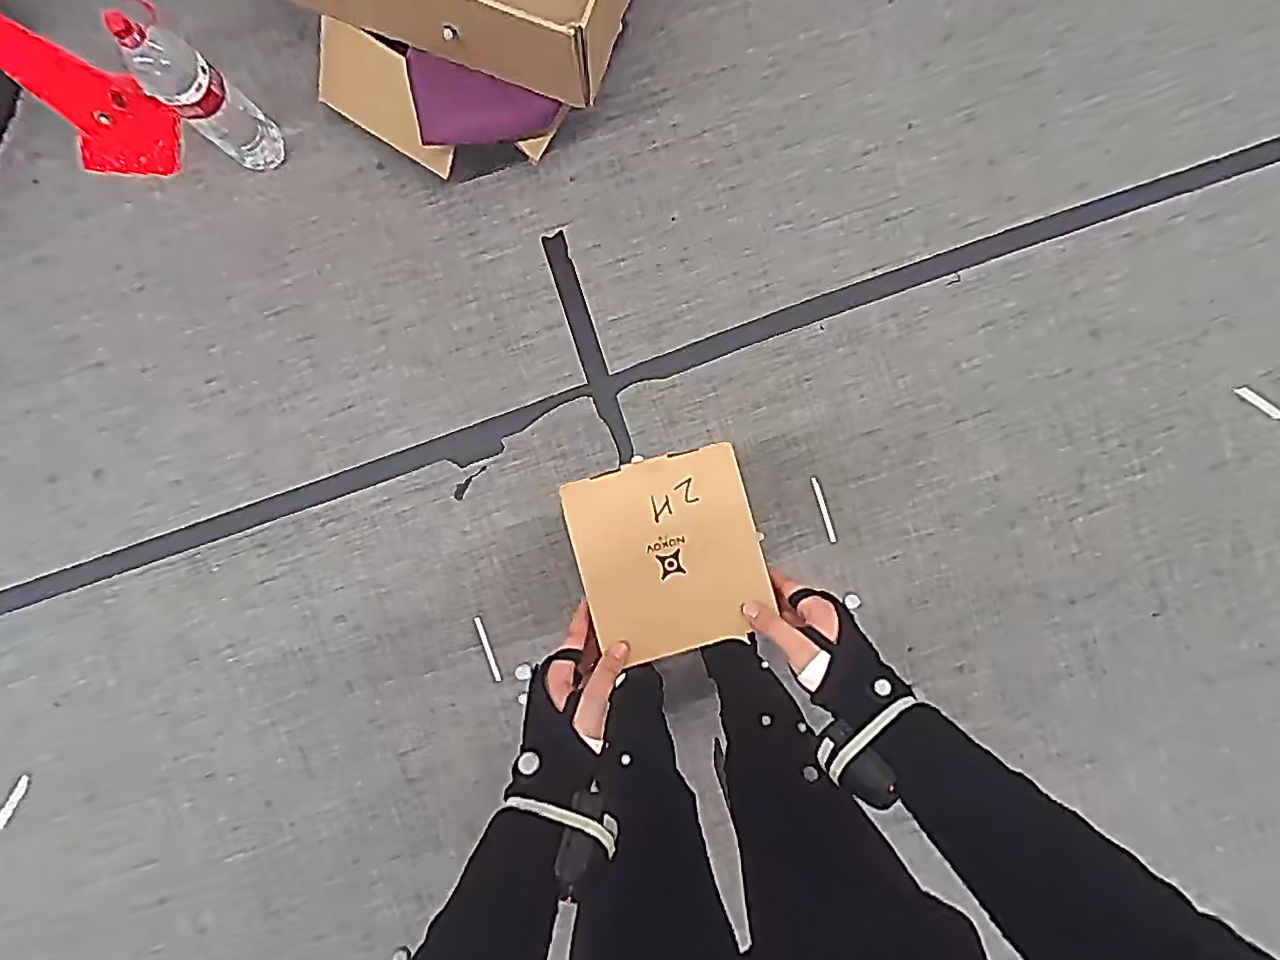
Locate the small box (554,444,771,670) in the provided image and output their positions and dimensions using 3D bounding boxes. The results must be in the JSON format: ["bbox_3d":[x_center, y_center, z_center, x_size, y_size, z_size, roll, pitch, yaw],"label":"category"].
[{"bbox_3d":[0.019,0.073,0.572,0.168,0.176,0.179,-16,87,-3],"label":"small box"}]
